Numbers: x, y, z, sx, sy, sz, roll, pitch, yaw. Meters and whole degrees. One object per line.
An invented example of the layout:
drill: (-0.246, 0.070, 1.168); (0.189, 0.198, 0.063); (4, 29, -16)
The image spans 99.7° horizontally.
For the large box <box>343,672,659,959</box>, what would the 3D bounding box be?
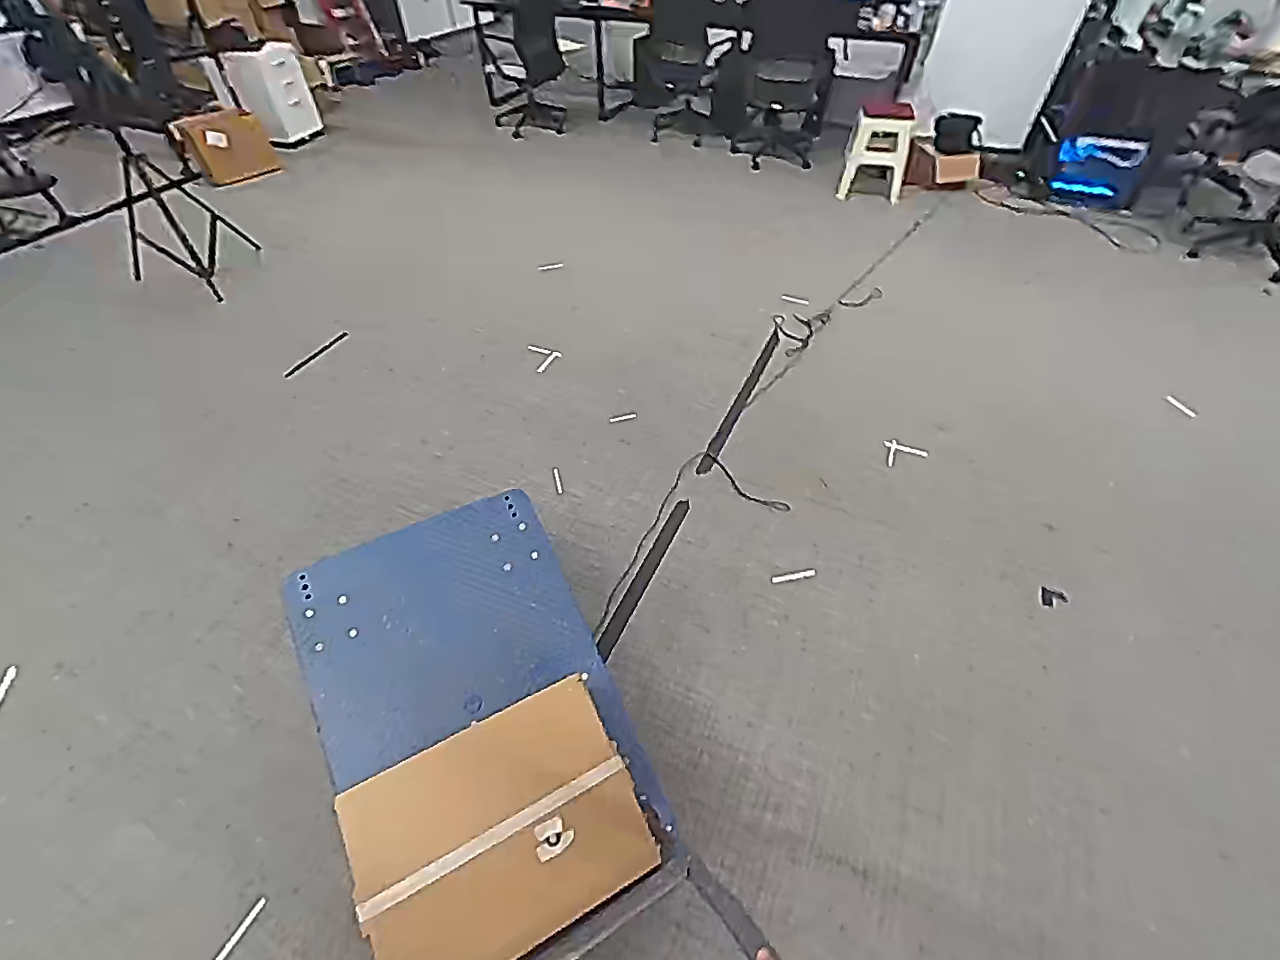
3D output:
large box: (-0.232, 0.598, 0.963); (0.408, 0.320, 0.320); (-23, 72, -19)
